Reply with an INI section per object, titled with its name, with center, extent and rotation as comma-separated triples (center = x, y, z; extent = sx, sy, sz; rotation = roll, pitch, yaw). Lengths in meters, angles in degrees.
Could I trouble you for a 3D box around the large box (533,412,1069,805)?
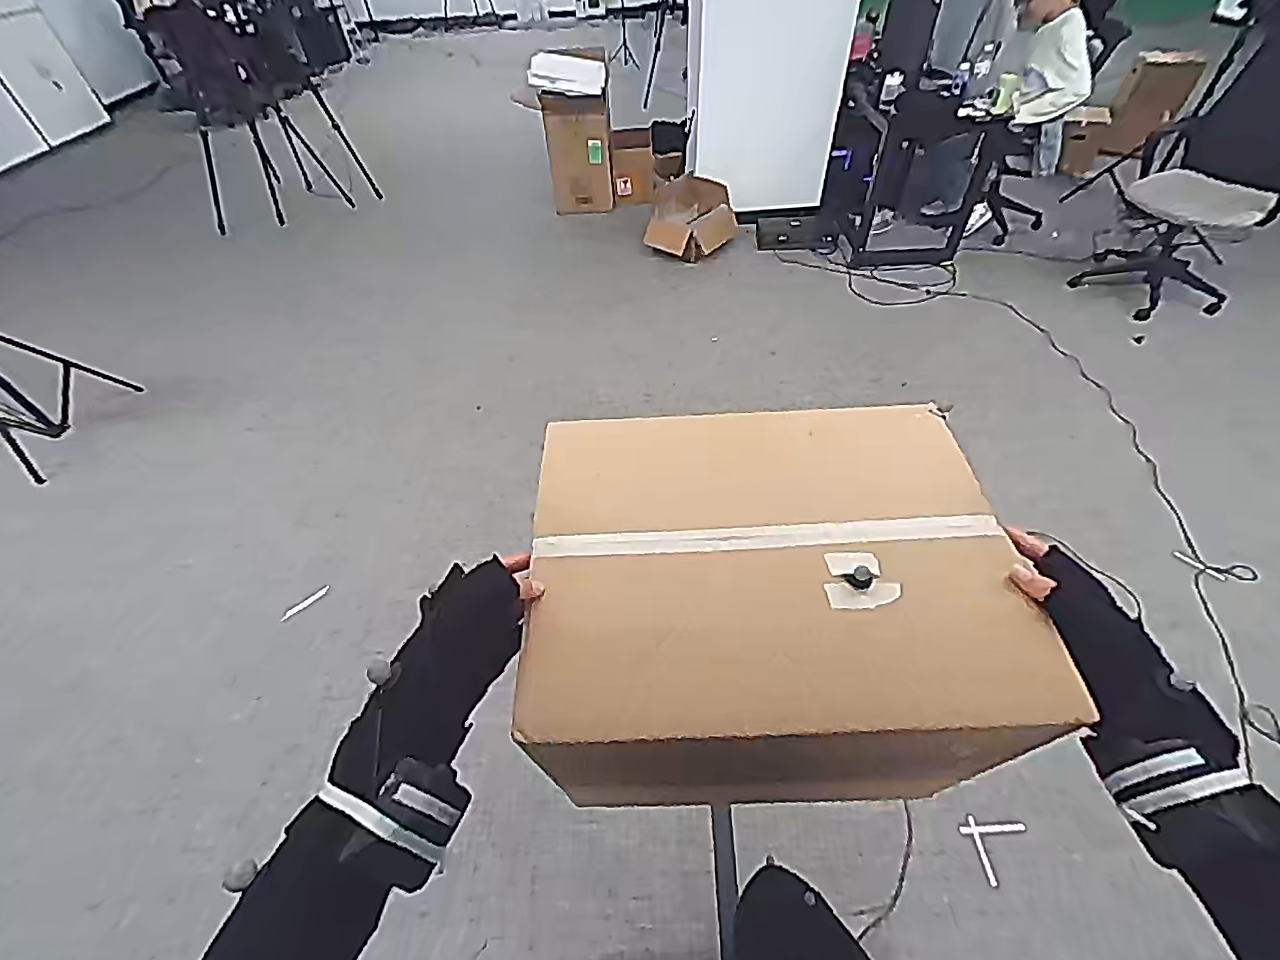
[large box]
center = 0.115, 0.150, 0.601
extent = 0.408, 0.320, 0.320
rotation = -3, 52, 1
